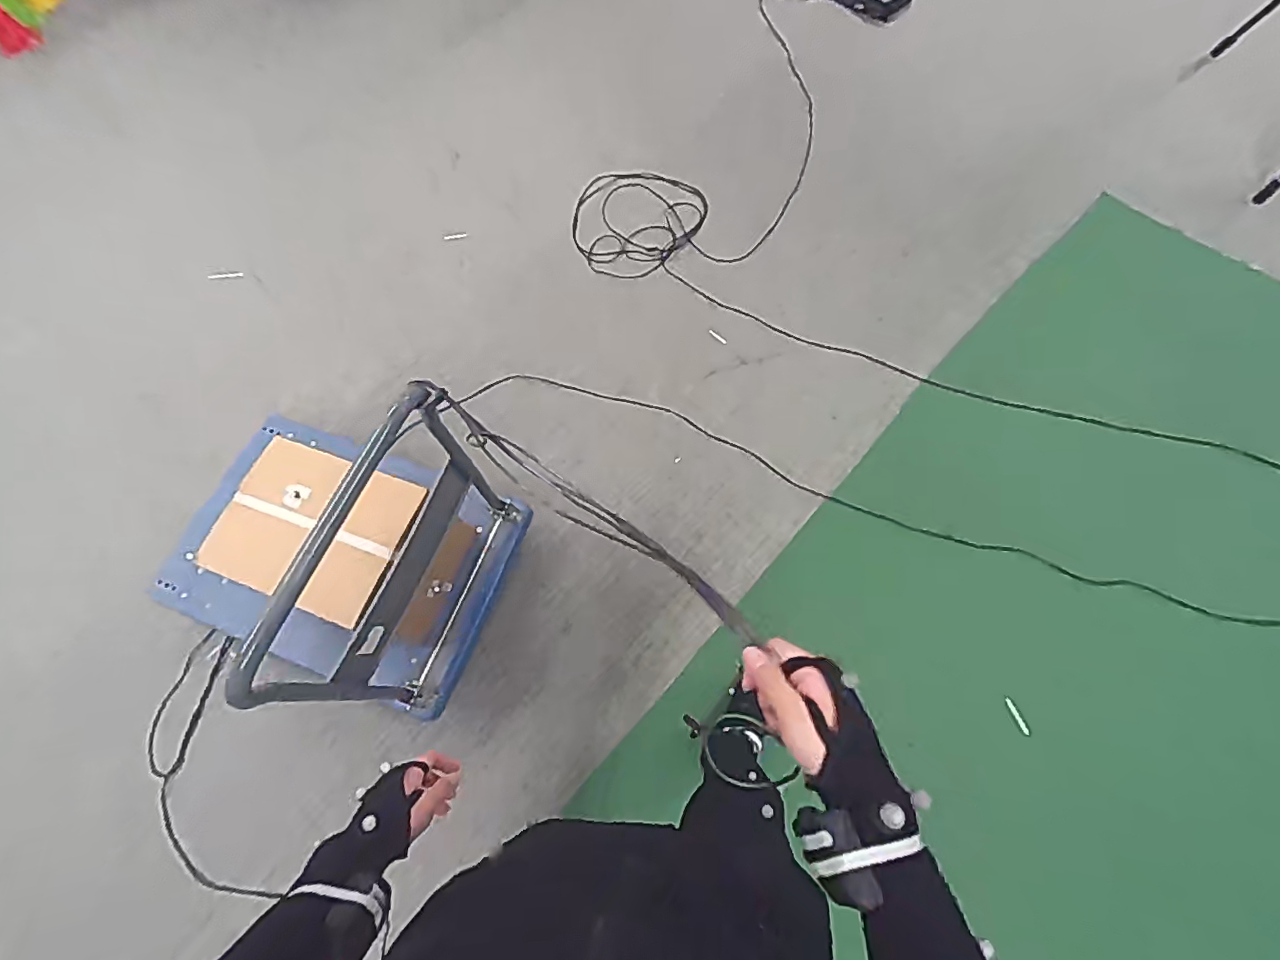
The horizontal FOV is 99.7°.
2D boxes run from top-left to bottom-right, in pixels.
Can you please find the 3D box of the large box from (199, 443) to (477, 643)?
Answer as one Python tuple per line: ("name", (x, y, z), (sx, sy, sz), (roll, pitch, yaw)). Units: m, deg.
("large box", (-0.666, 0.158, 1.267), (0.408, 0.320, 0.320), (17, 69, 12))
